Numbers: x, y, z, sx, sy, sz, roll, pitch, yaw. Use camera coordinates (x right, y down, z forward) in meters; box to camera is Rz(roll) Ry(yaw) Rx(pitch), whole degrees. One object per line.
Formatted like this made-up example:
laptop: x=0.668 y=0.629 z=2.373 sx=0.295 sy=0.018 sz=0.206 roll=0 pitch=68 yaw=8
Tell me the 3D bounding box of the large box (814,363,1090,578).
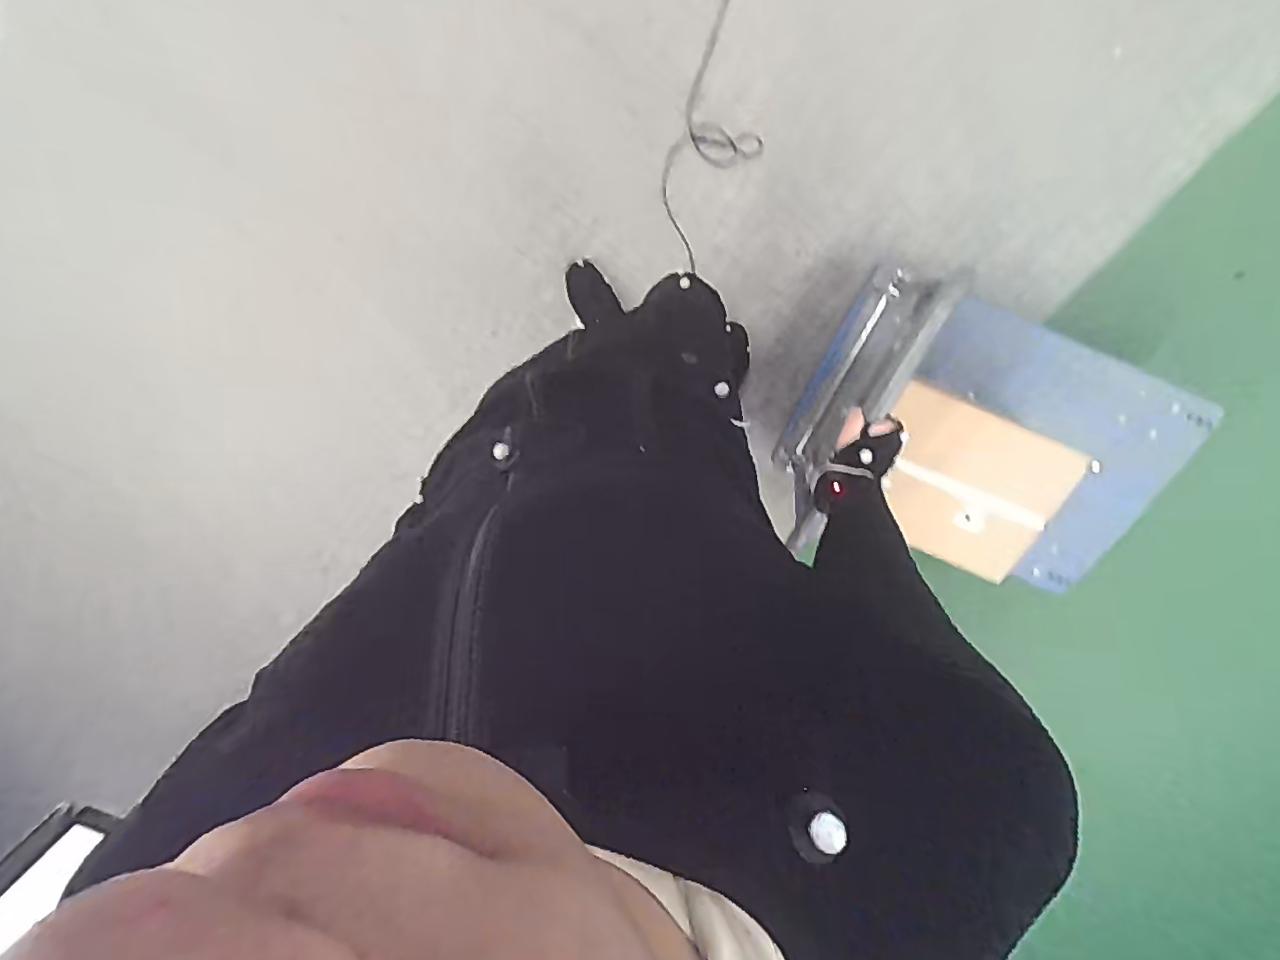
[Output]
large box: x=0.674 y=-0.043 z=1.258 sx=0.408 sy=0.320 sz=0.320 roll=24 pitch=113 yaw=1
